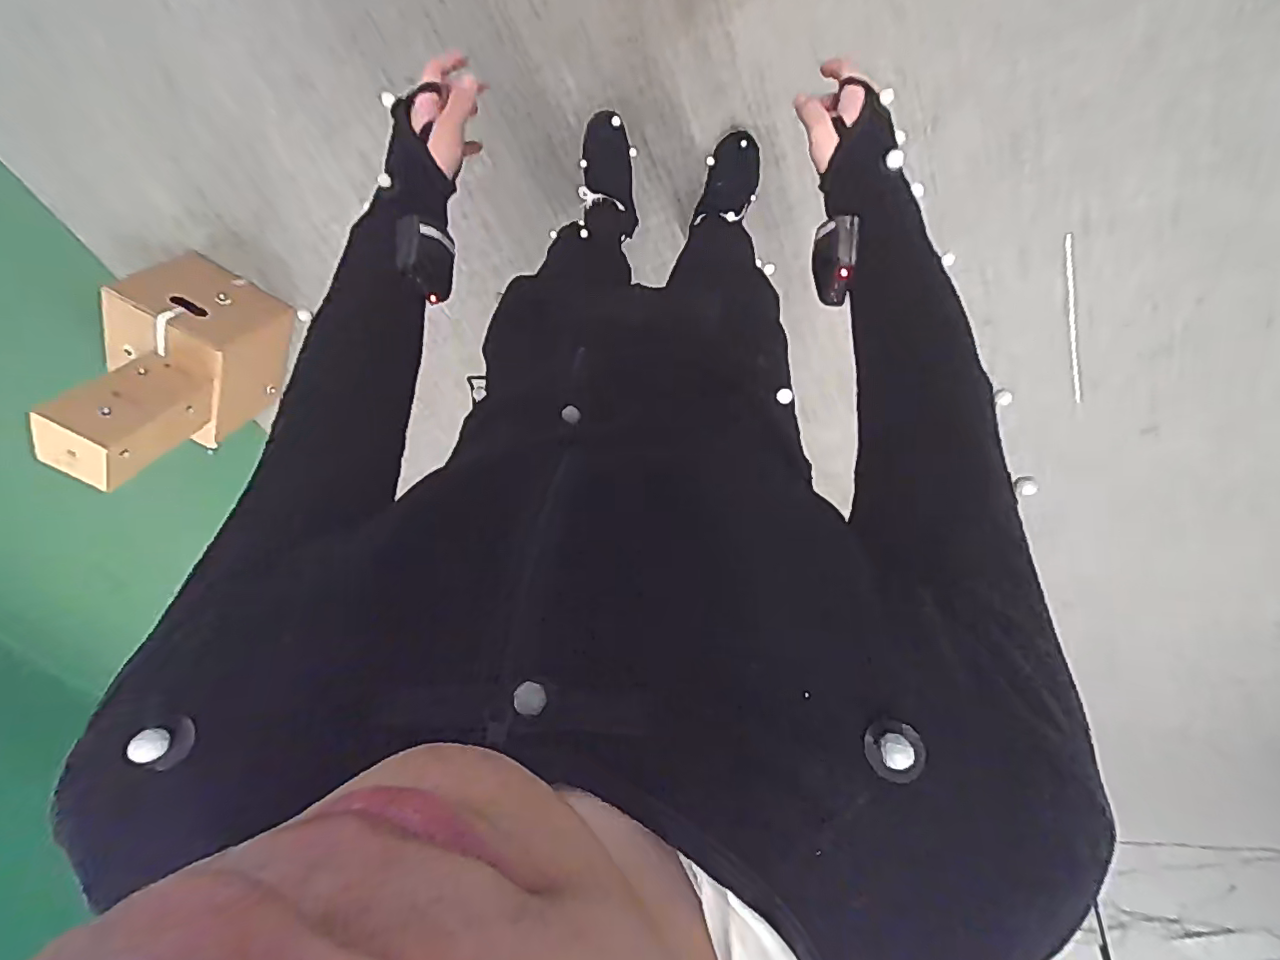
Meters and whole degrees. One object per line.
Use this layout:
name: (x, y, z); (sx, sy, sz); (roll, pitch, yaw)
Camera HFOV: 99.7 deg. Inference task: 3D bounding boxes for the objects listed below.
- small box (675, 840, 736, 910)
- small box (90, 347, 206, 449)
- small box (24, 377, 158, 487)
small box: (0.241, 1.427, 1.957); (0.179, 0.176, 0.168); (-16, 123, 23)
small box: (-1.319, -0.226, 1.461); (0.168, 0.176, 0.179); (30, 128, -14)
small box: (-1.342, -0.122, 1.334); (0.168, 0.176, 0.179); (33, 127, -15)
